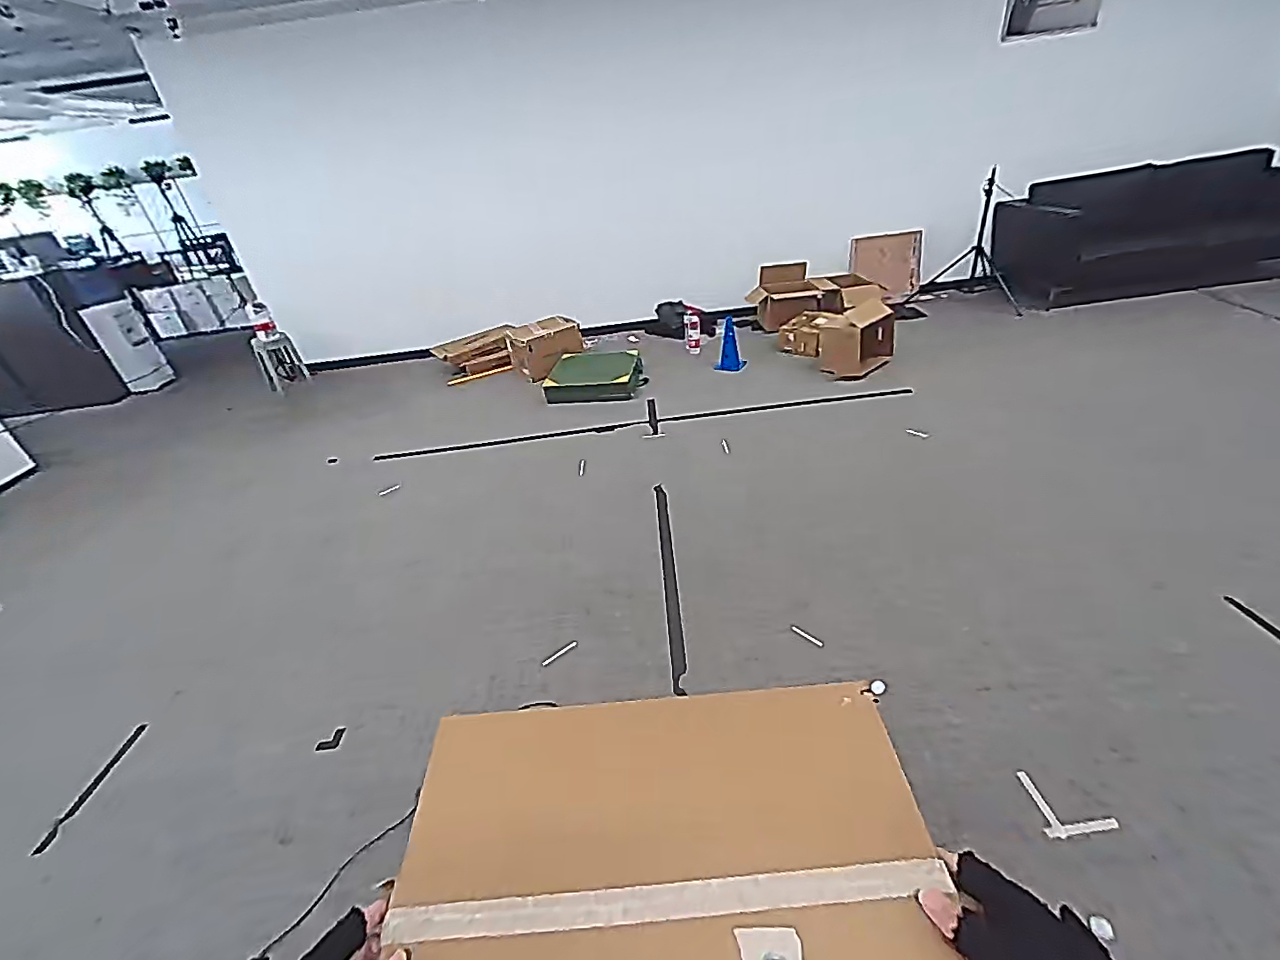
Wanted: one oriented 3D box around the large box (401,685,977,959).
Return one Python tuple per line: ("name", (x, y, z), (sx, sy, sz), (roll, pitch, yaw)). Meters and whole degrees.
("large box", (0.035, 0.427, 0.490), (0.408, 0.320, 0.320), (-5, 39, -1))
